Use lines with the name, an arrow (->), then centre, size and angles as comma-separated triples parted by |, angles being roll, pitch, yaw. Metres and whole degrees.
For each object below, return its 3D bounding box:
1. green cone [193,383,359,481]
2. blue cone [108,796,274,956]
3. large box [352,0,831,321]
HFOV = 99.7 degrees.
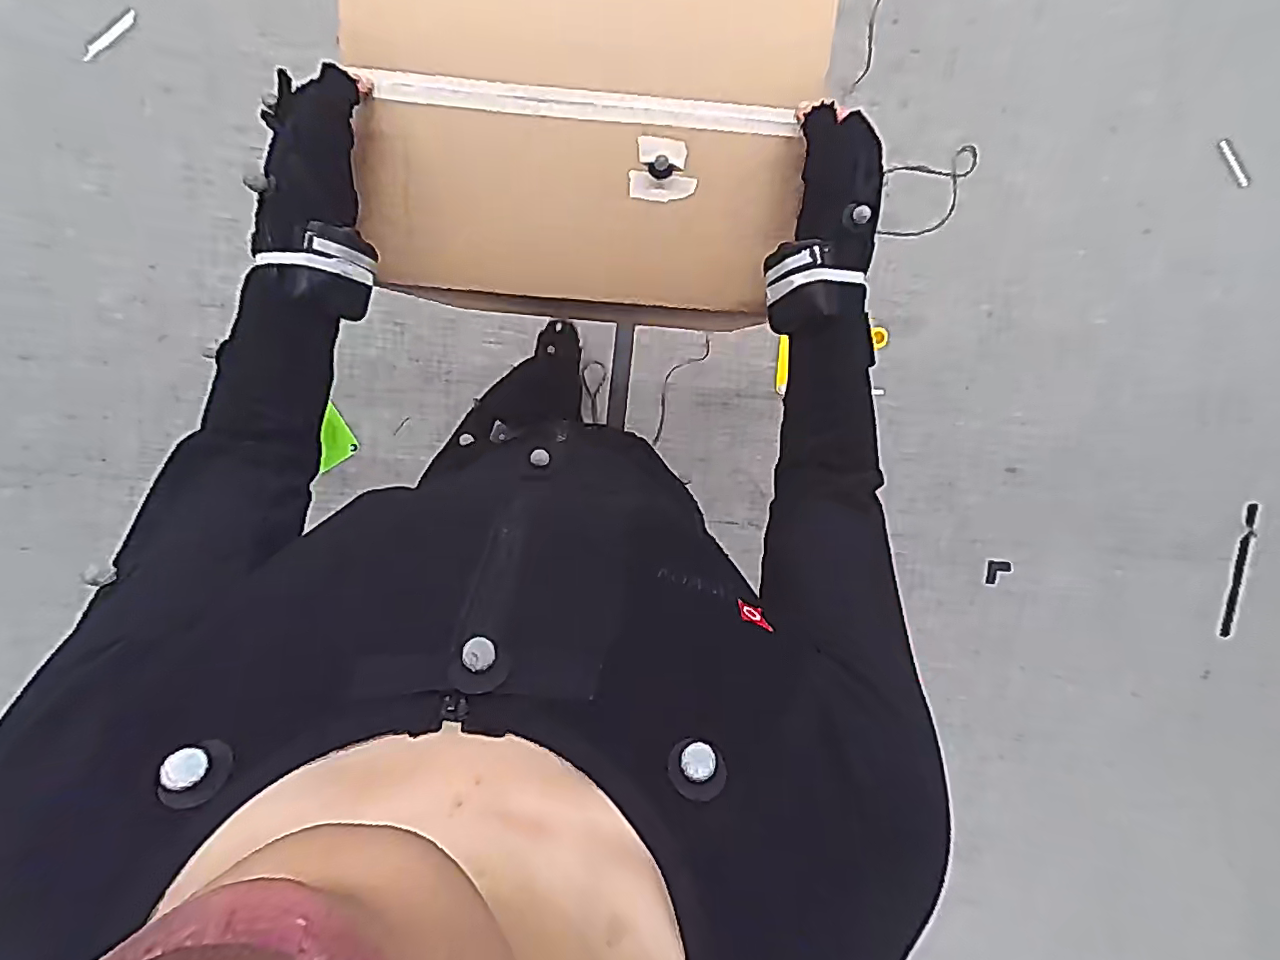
green cone -> -0.858, -0.108, 1.236 | 0.202, 0.368, 0.200 | -32, 95, 2
blue cone -> -1.116, 0.989, 1.343 | 0.192, 0.380, 0.193 | 8, 95, -2
large box -> -0.050, -0.360, 0.607 | 0.408, 0.320, 0.320 | 4, 103, -3
